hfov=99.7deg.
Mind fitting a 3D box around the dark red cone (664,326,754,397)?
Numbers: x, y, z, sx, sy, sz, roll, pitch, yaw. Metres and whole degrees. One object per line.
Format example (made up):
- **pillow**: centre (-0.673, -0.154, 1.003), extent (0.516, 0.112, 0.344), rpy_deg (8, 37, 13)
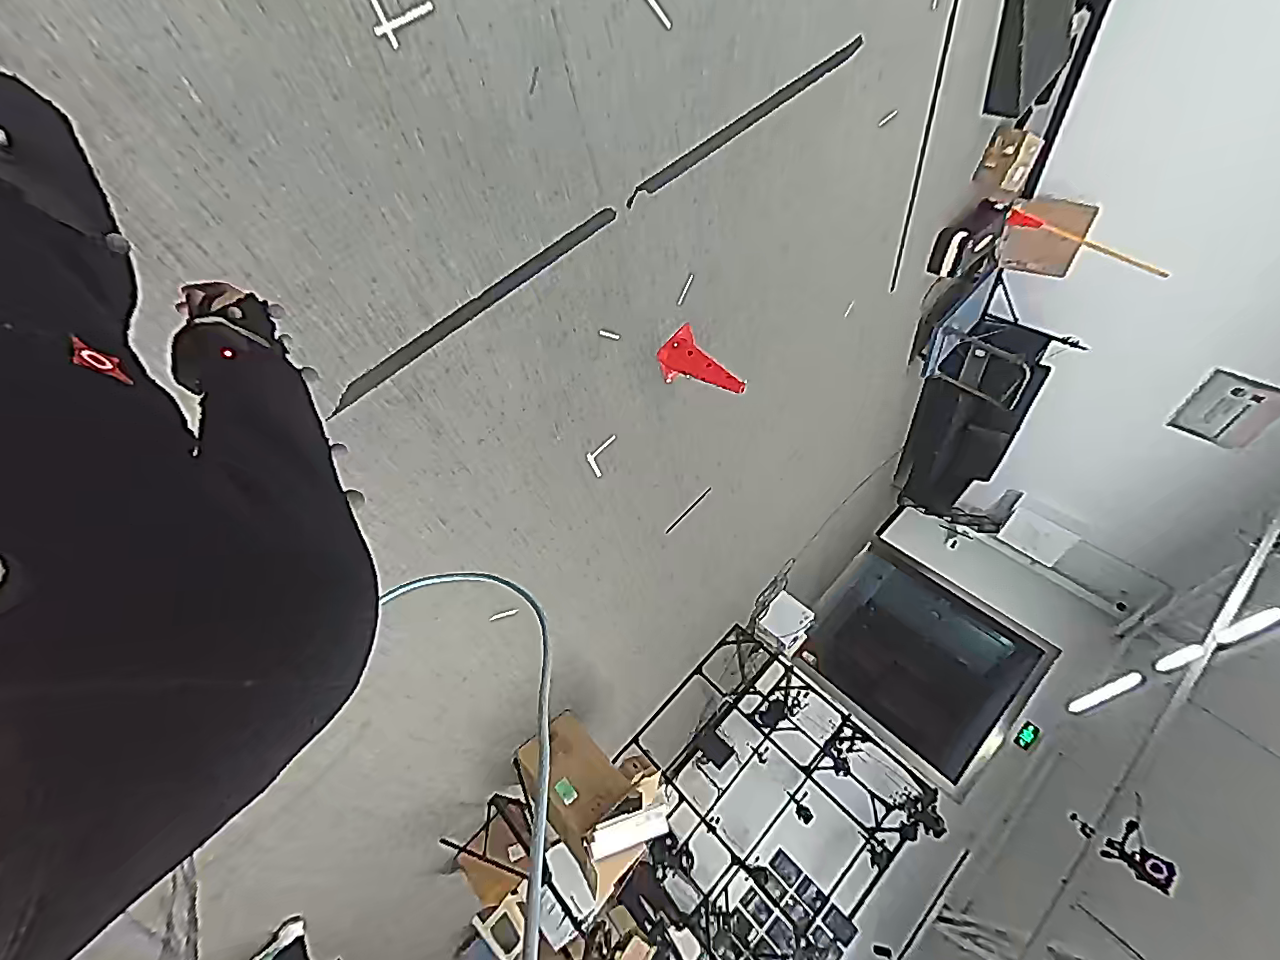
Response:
- **dark red cone**: centre (0.295, -0.434, 2.164), extent (0.202, 0.394, 0.201), rpy_deg (-47, 147, -10)
